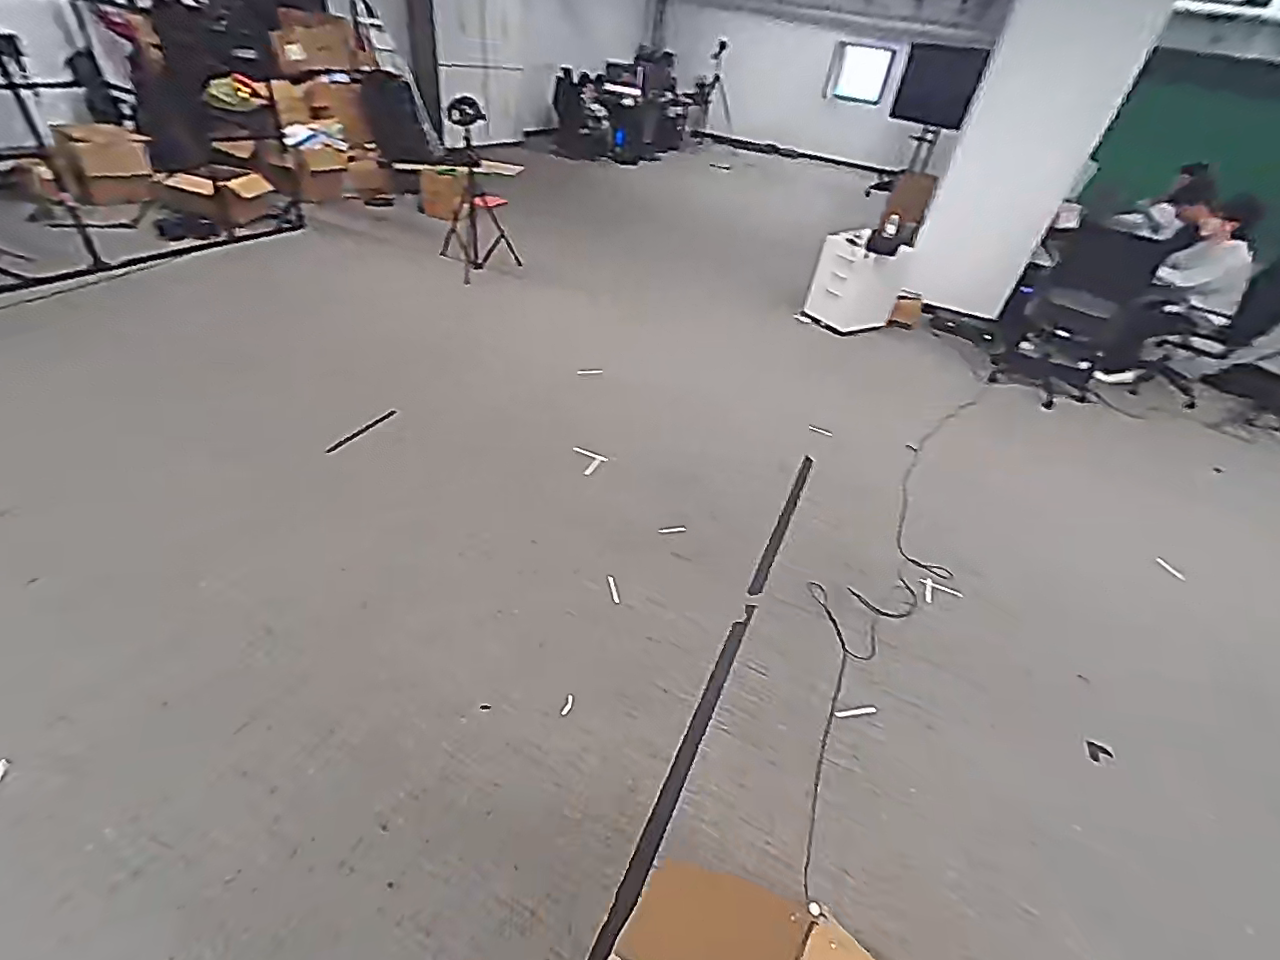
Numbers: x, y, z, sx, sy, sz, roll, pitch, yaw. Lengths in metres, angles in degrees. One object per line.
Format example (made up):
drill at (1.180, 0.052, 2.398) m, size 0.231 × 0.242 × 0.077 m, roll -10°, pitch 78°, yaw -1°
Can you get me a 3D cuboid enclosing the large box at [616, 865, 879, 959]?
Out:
large box at (0.151, 0.755, 0.665) m, size 0.320 × 0.408 × 0.320 m, roll 45°, pitch 54°, yaw 2°
